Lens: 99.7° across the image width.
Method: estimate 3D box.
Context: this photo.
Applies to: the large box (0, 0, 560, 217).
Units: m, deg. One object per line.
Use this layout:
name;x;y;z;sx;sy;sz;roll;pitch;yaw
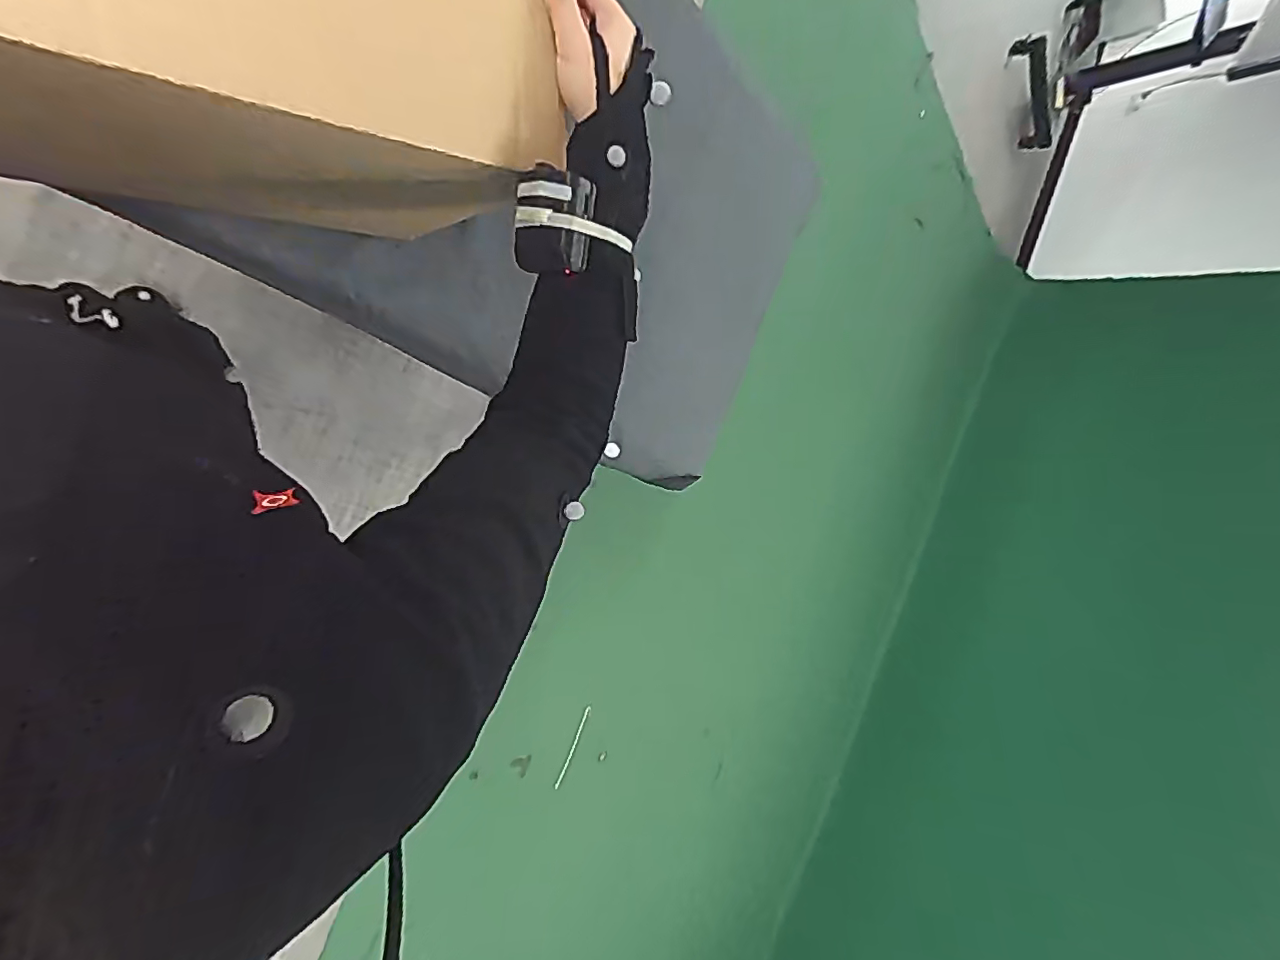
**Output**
large box;-0.303;-0.379;0.334;0.408;0.320;0.320;-11;110;-42
